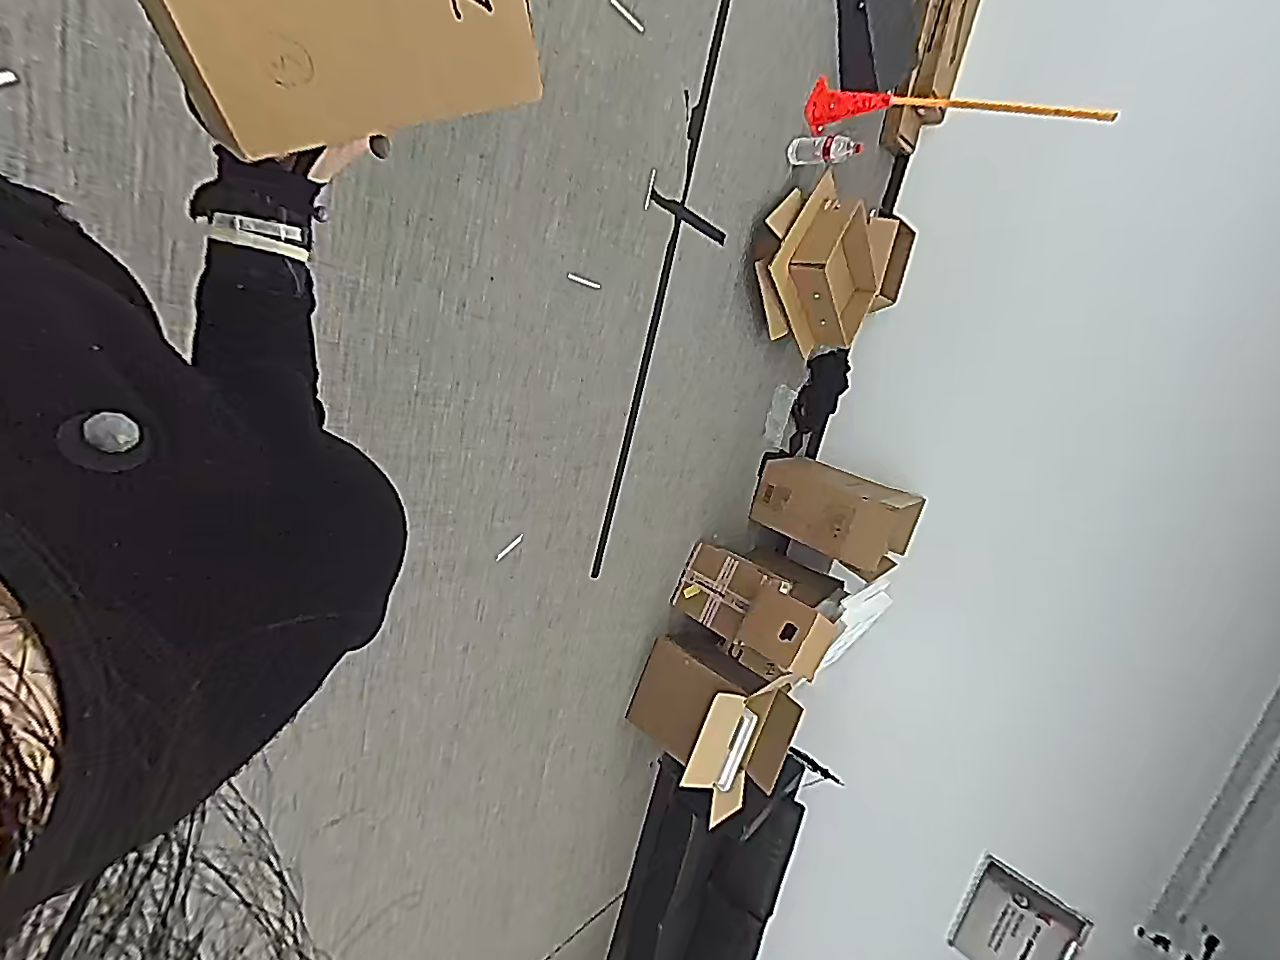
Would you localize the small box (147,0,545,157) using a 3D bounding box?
[{"bbox_3d":[-0.184,-0.297,0.305,0.179,0.176,0.168,-31,137,-24],"label":"small box"}]
